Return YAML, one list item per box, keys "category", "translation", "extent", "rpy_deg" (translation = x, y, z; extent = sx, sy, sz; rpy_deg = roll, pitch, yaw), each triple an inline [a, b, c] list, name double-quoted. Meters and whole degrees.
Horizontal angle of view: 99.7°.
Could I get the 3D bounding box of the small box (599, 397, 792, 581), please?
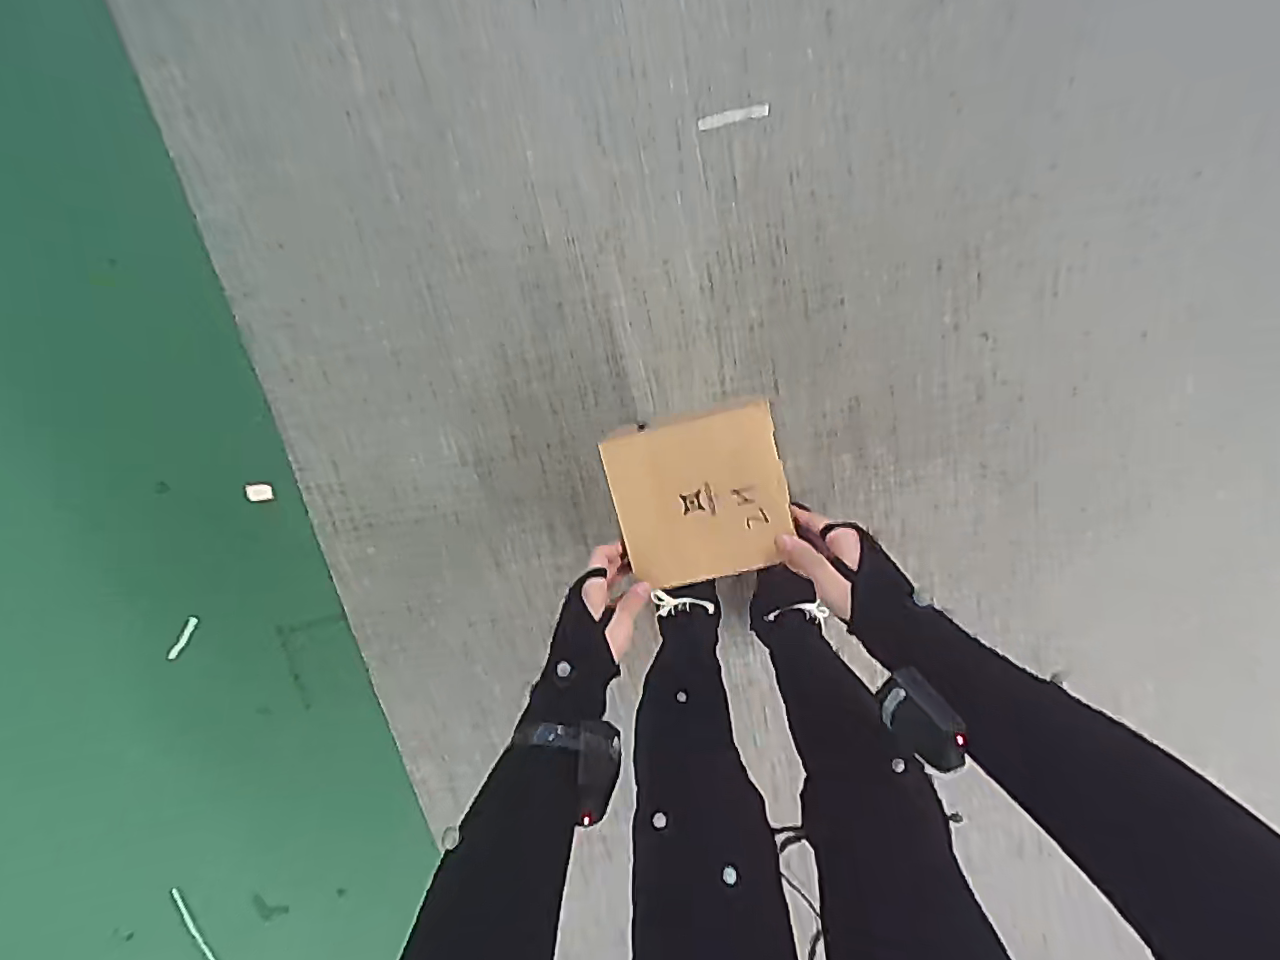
- category: "small box"
  translation: [0.065, 0.001, 0.644]
  extent: [0.179, 0.176, 0.168]
  rpy_deg: [-14, 99, 6]
